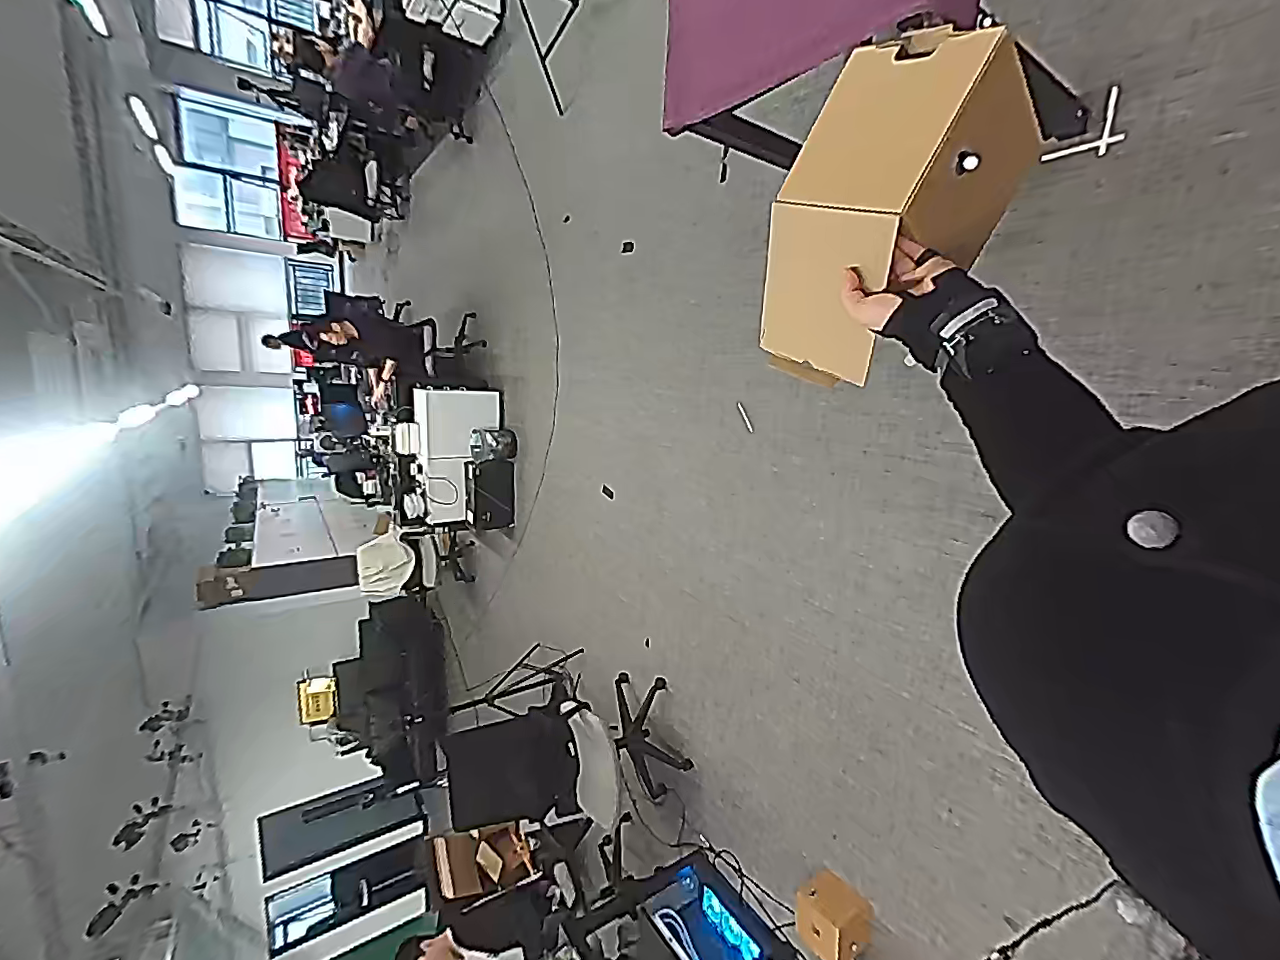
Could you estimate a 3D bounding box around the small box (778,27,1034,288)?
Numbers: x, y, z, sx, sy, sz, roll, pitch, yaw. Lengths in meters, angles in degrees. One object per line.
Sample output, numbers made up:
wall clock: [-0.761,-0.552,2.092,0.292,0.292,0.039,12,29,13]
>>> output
small box: [0.295,-0.339,0.599,0.168,0.176,0.179,39,105,45]
